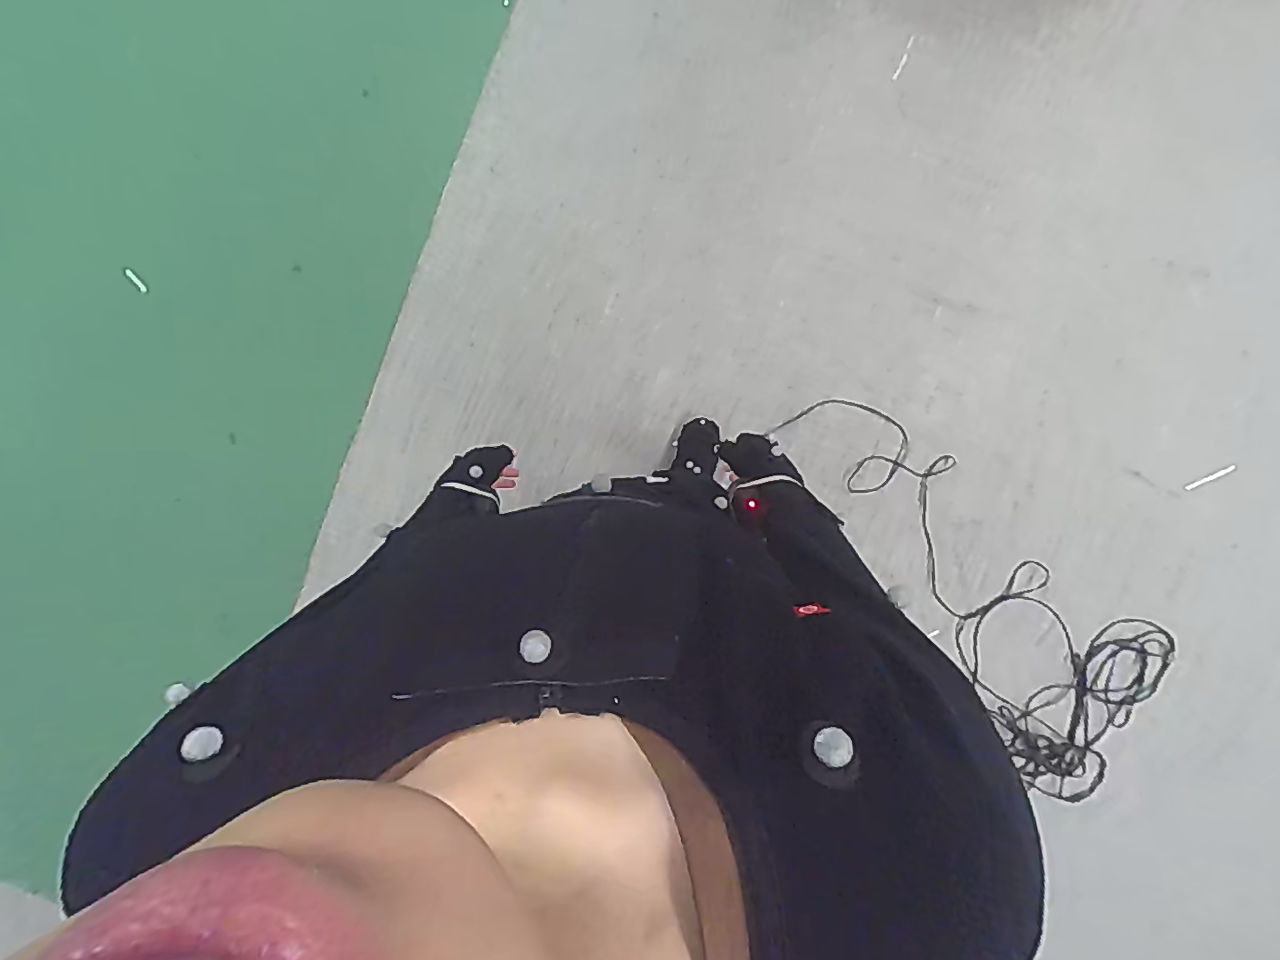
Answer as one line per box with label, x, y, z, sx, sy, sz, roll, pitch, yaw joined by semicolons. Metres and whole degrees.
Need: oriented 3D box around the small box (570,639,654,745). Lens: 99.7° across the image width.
small box;-0.069;0.553;1.433;0.168;0.176;0.179;23;92;-1
